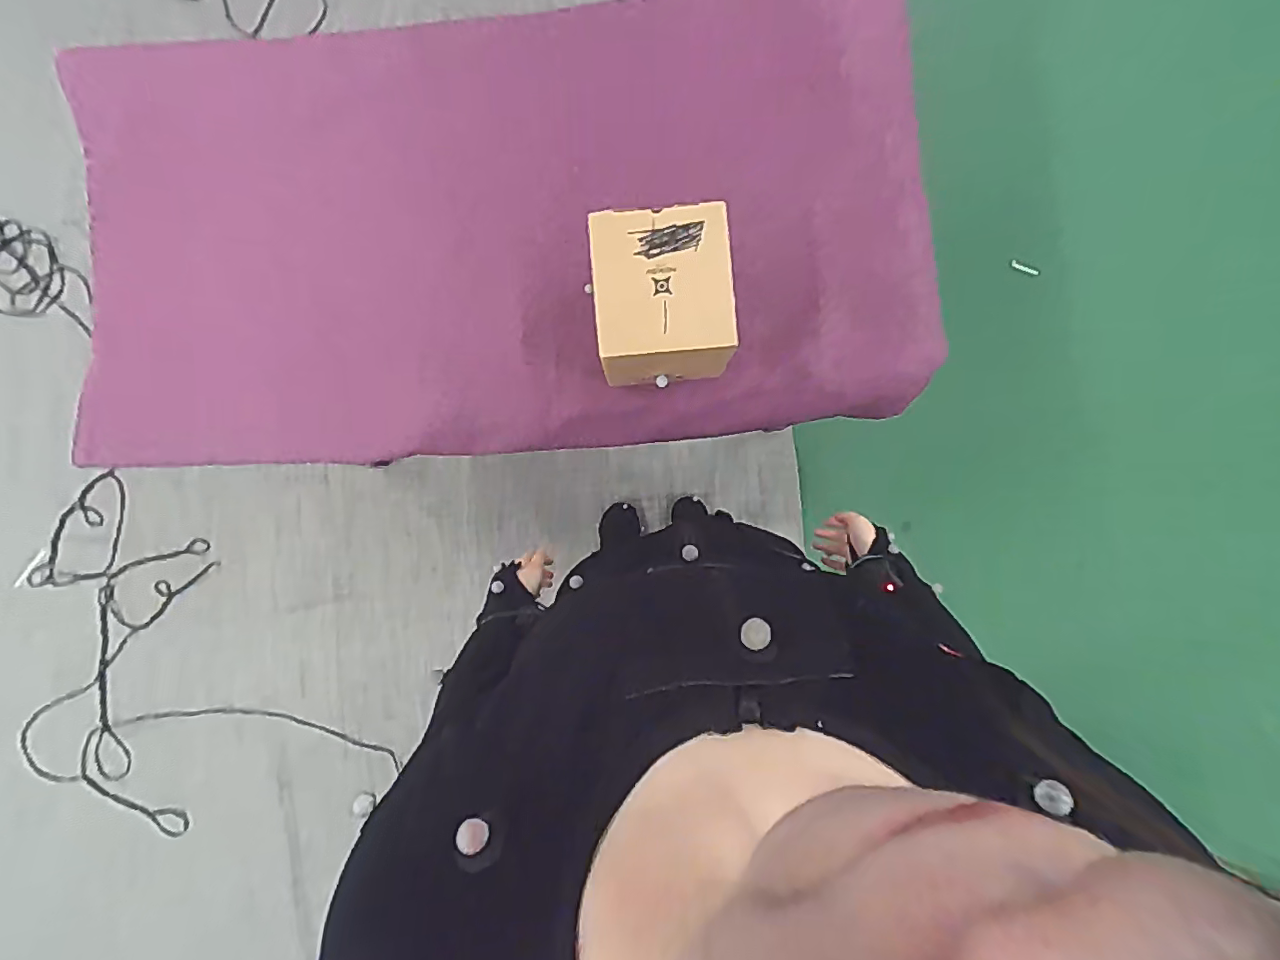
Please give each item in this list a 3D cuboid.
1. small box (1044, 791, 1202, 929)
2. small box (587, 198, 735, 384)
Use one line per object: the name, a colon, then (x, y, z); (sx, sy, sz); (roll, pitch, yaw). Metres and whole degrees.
small box: (0.955, 0.745, 1.077); (0.179, 0.176, 0.168); (-3, 89, 1)
small box: (0.024, -0.233, 0.704); (0.168, 0.176, 0.179); (-5, 89, 1)
